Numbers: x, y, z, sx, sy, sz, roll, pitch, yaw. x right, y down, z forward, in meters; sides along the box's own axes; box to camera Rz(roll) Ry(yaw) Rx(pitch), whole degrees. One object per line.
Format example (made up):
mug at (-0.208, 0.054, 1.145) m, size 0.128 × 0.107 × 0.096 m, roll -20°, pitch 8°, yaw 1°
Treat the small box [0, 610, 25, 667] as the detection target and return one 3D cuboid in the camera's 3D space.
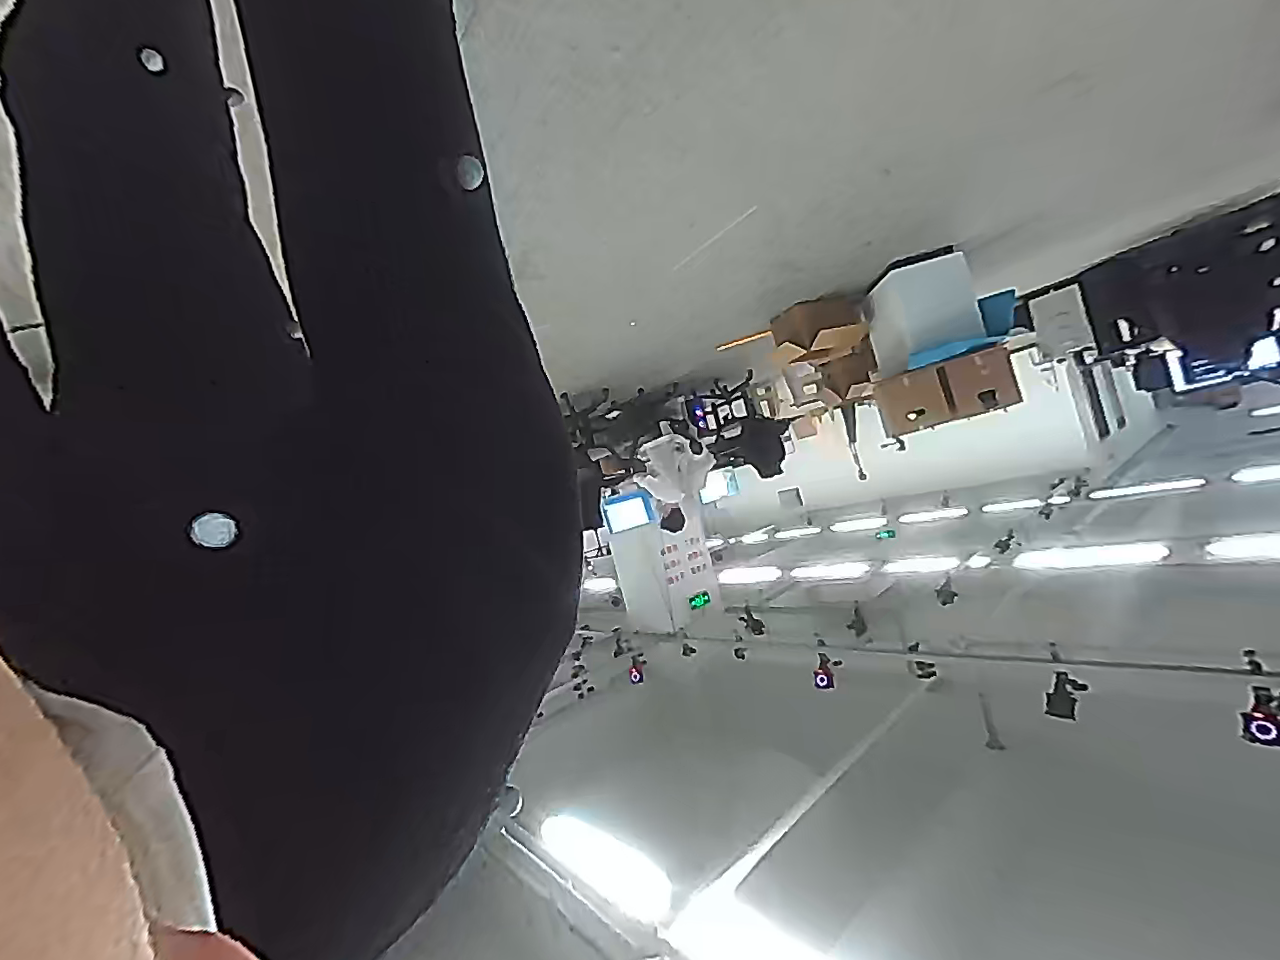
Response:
small box at (-2.029, 0.502, 1.645) m, size 0.168 × 0.176 × 0.179 m, roll -14°, pitch 178°, yaw -39°
